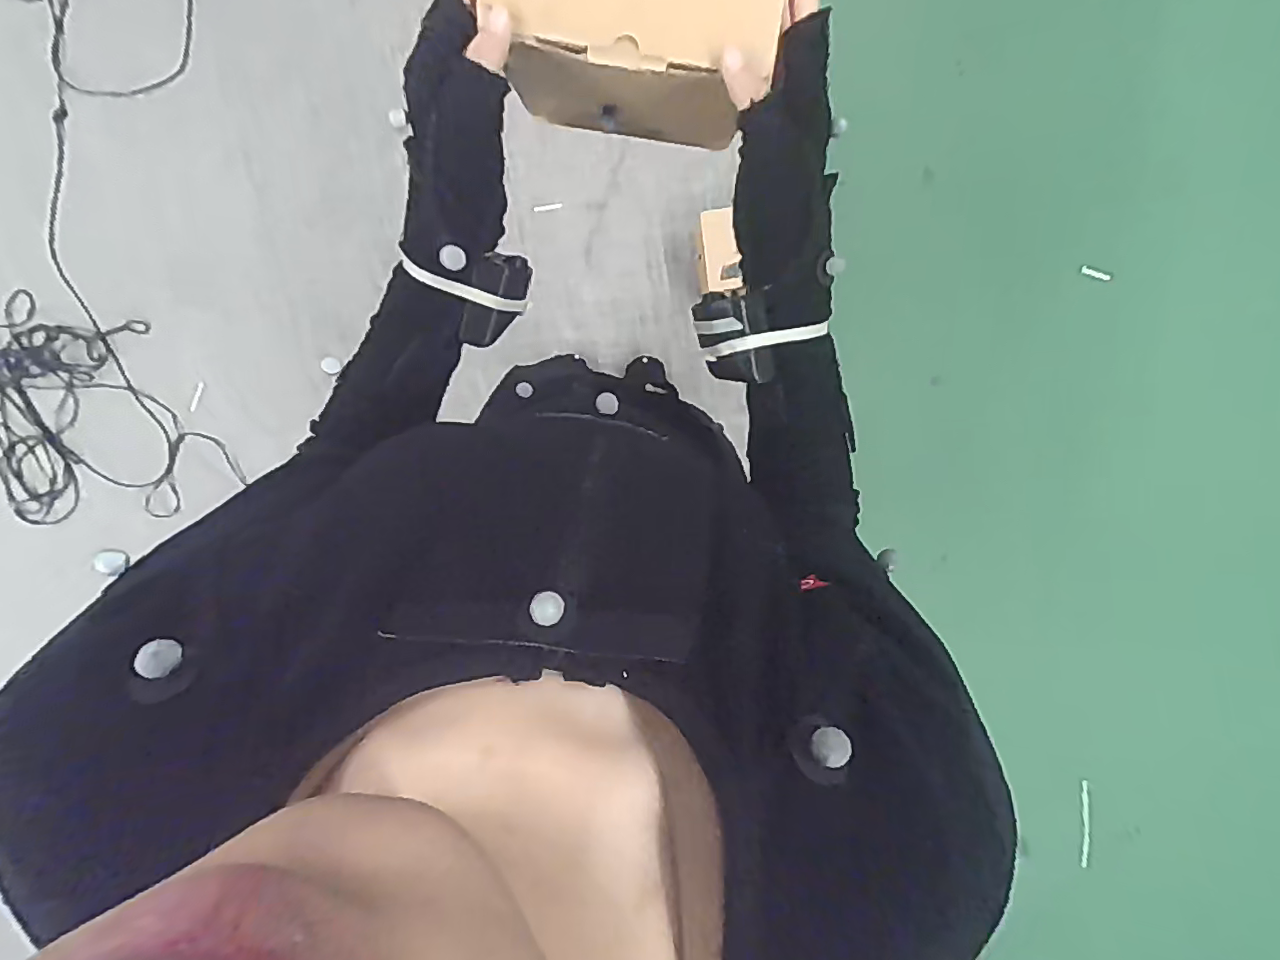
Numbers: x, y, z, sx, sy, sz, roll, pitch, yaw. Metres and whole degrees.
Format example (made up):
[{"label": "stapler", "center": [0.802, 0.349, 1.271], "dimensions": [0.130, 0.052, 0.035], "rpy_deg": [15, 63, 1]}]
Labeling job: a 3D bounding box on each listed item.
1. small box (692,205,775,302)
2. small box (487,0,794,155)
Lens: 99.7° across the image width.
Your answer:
[{"label": "small box", "center": [0.217, -0.525, 1.283], "dimensions": [0.168, 0.176, 0.179], "rpy_deg": [-8, 101, 3]}, {"label": "small box", "center": [0.007, -0.337, 0.348], "dimensions": [0.168, 0.176, 0.179], "rpy_deg": [7, 110, -3]}]
